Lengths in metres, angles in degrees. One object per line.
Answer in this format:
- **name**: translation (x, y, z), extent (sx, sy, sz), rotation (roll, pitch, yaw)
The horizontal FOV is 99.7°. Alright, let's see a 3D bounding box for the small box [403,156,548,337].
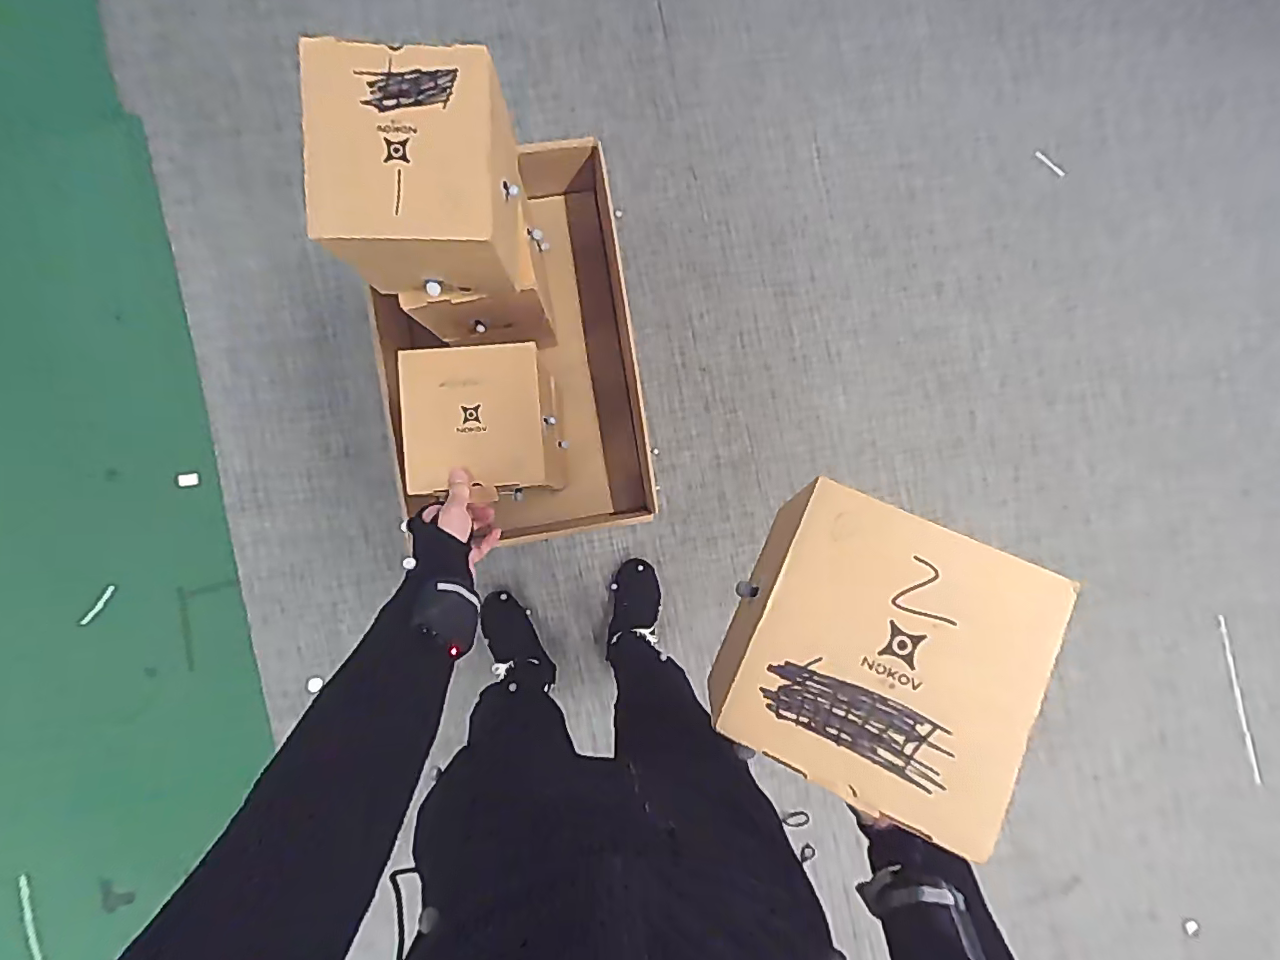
- **small box**: translation (-0.226, -0.311, 0.738), extent (0.168, 0.176, 0.179), rotation (-10, 93, -4)

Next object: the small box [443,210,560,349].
- **small box**: translation (-0.232, -0.317, 0.899), extent (0.168, 0.176, 0.179), rotation (-9, 93, -2)

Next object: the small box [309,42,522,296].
- **small box**: translation (-0.222, -0.311, 0.574), extent (0.168, 0.176, 0.179), rotation (-1, 92, -3)

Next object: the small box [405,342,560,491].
- **small box**: translation (-0.202, -0.076, 0.732), extent (0.168, 0.176, 0.179), rotation (-3, 87, -3)
